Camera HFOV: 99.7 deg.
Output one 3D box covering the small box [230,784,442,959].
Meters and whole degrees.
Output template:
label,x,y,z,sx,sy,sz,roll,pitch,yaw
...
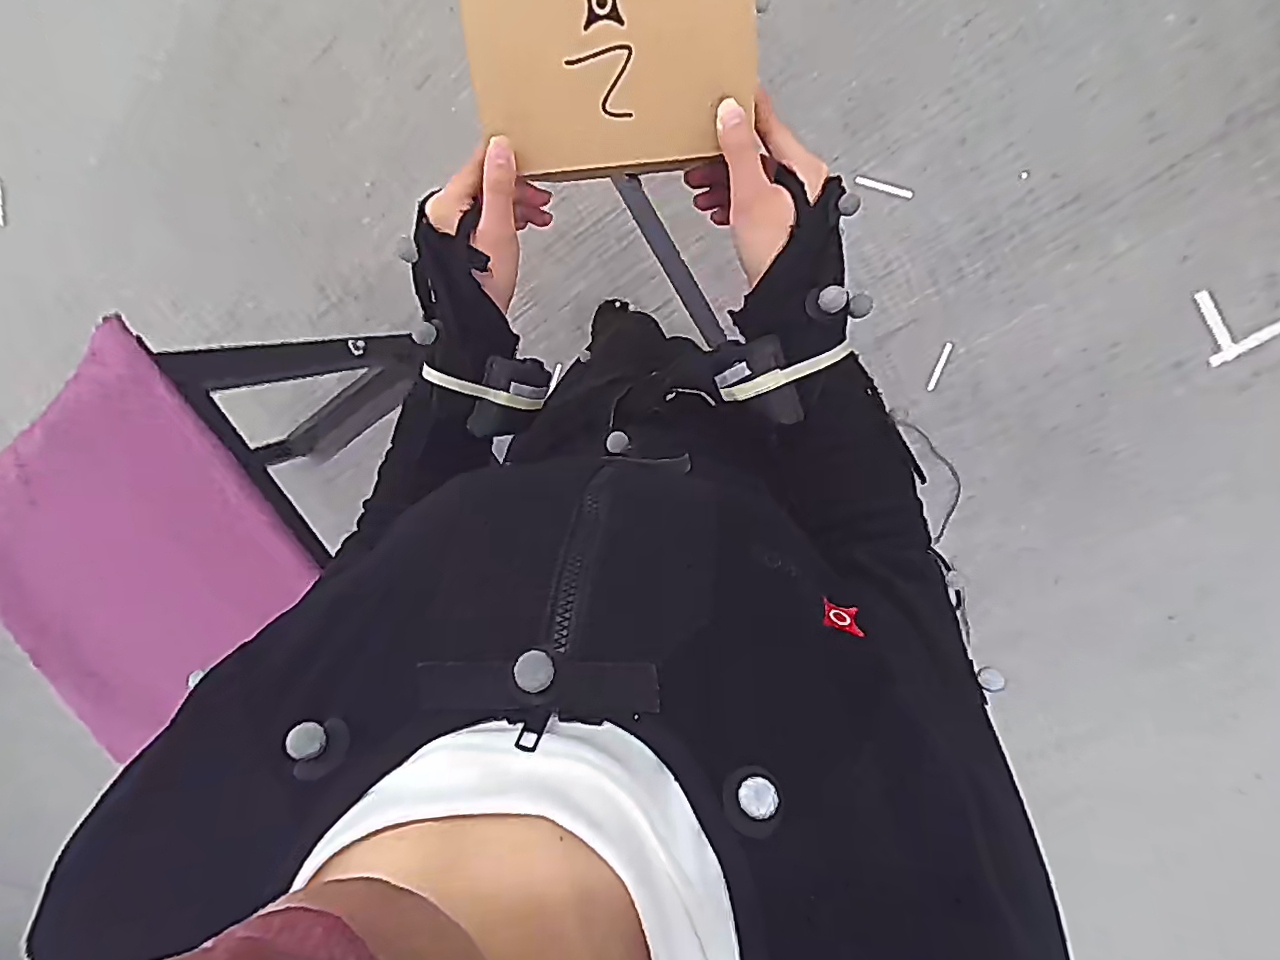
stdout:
label,x,y,z,sx,sy,sz,roll,pitch,yaw
small box,-0.431,0.578,0.795,0.168,0.176,0.179,-20,102,17
